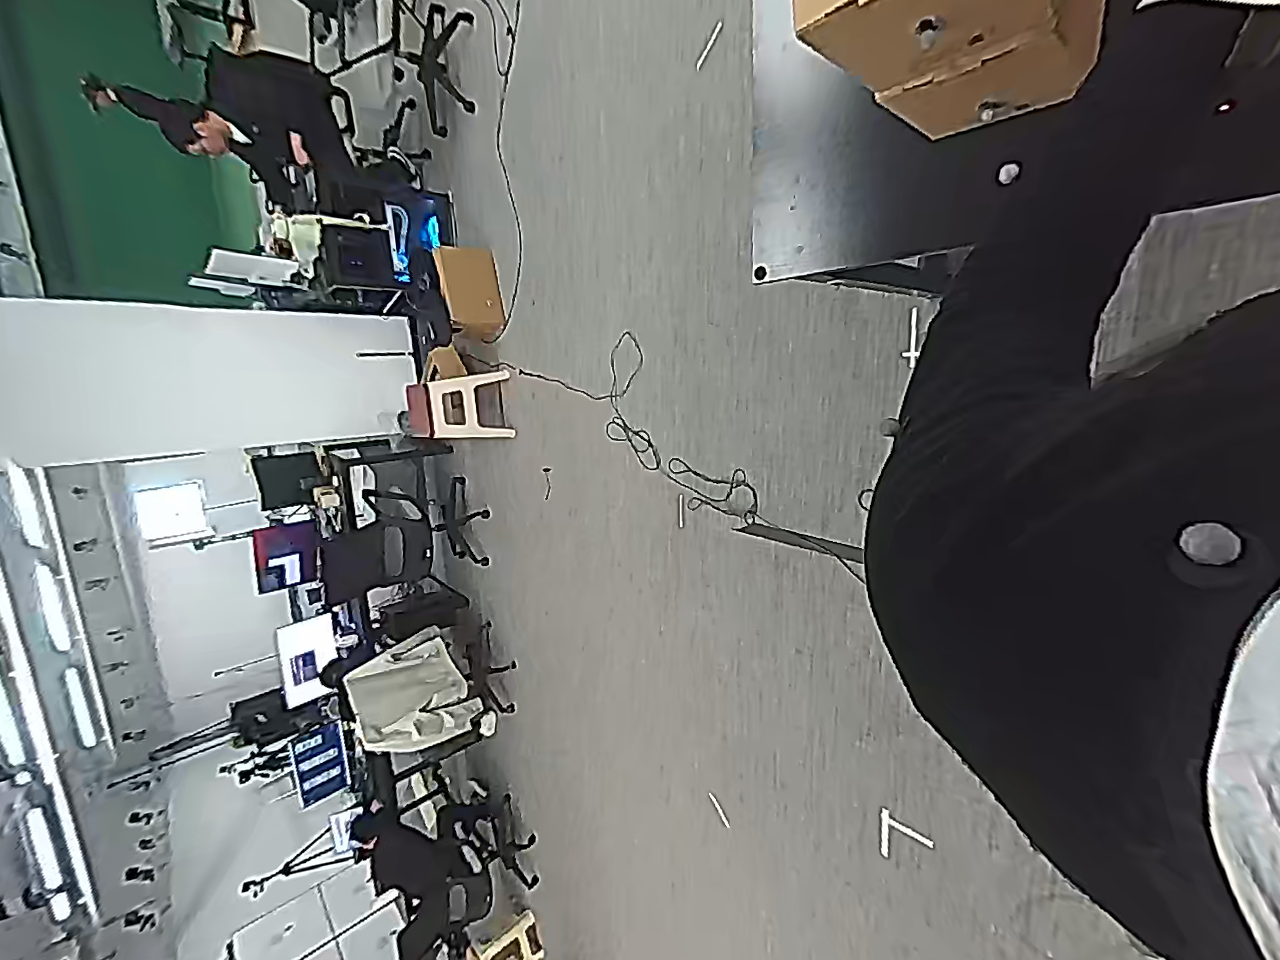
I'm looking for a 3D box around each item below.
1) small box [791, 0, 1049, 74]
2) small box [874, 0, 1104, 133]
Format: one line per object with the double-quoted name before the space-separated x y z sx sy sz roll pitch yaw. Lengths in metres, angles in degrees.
"small box" 0.247 -0.490 0.467 0.168 0.176 0.179 8 106 48
"small box" 0.372 -0.506 0.572 0.168 0.176 0.179 13 109 47
